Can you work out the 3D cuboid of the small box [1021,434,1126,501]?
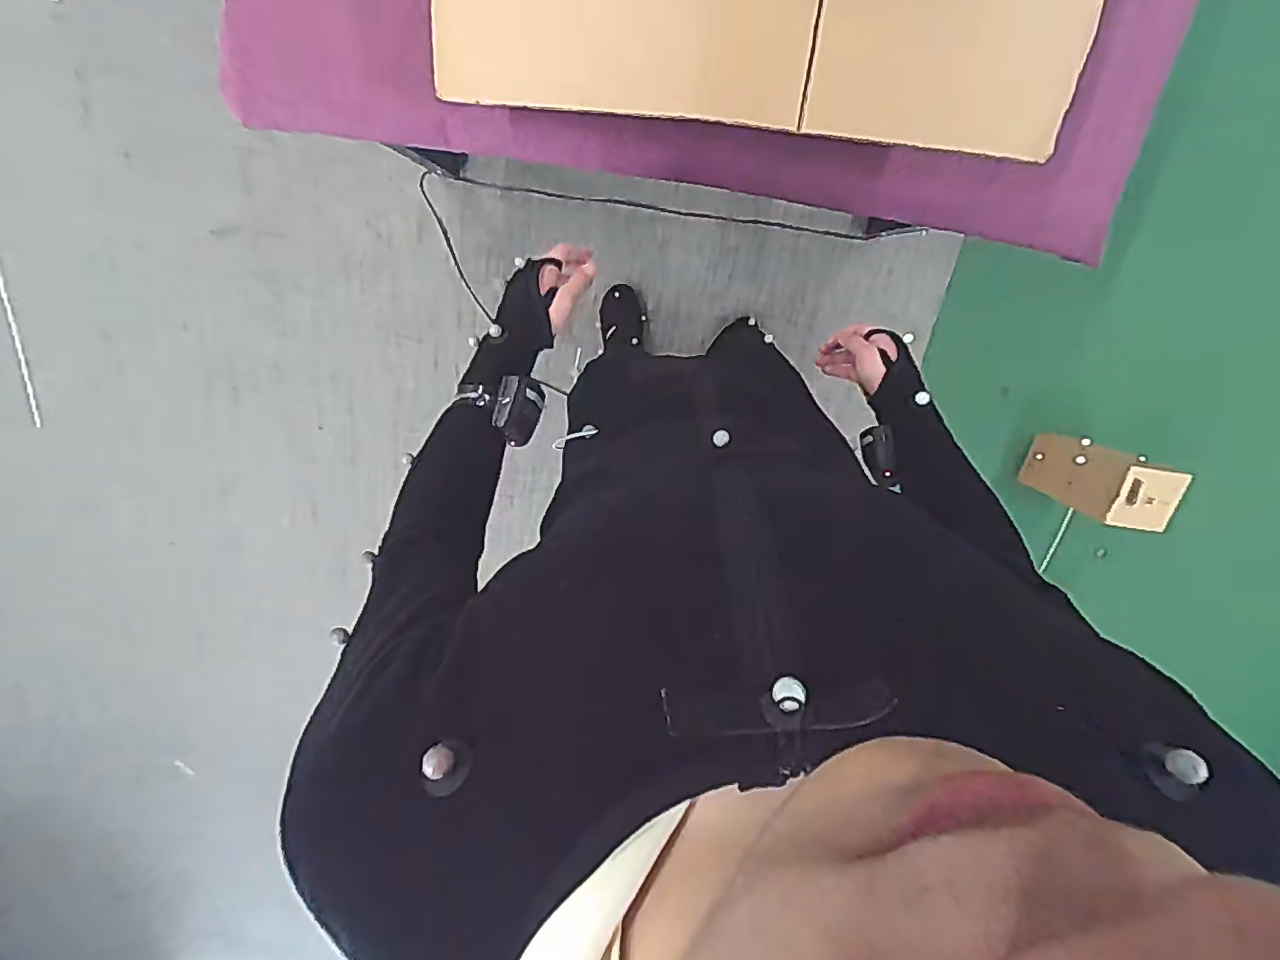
[{"bbox_3d":[1.307,-0.031,1.625,0.179,0.176,0.168,8,110,-5],"label":"small box"}]

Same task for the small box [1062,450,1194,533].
[{"bbox_3d":[1.313,0.025,1.472,0.179,0.176,0.168,8,110,-6],"label":"small box"}]
